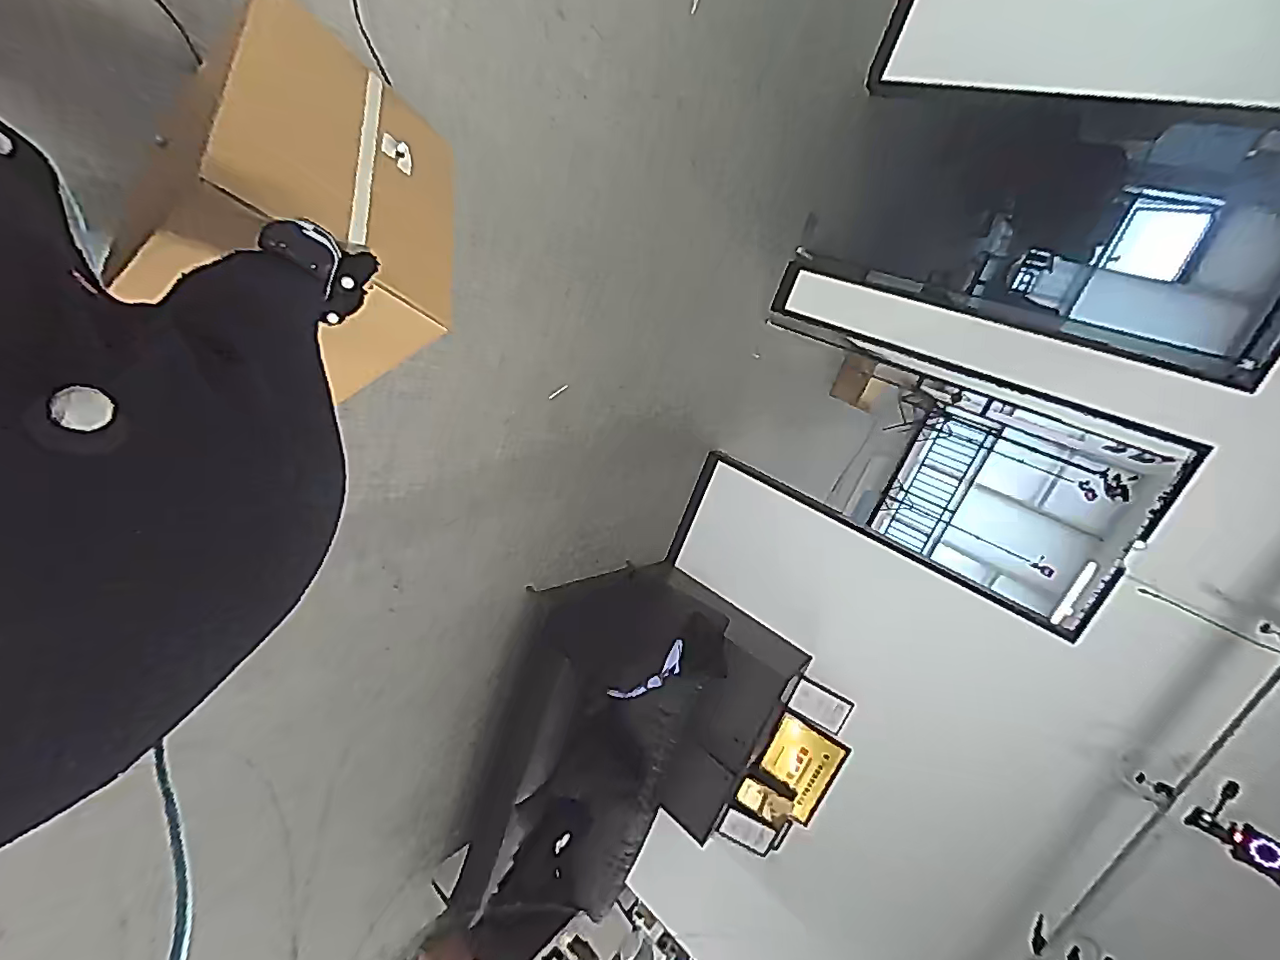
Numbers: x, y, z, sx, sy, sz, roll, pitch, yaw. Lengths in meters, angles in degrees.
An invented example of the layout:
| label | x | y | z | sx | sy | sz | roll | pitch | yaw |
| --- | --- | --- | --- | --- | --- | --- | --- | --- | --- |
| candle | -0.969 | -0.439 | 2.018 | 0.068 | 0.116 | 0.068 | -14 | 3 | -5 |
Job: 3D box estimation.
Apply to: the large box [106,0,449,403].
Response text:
| label | x | y | z | sx | sy | sz | roll | pitch | yaw |
| --- | --- | --- | --- | --- | --- | --- | --- | --- | --- |
| large box | -0.516 | -0.392 | 0.824 | 0.320 | 0.408 | 0.320 | -21 | 153 | 26 |
